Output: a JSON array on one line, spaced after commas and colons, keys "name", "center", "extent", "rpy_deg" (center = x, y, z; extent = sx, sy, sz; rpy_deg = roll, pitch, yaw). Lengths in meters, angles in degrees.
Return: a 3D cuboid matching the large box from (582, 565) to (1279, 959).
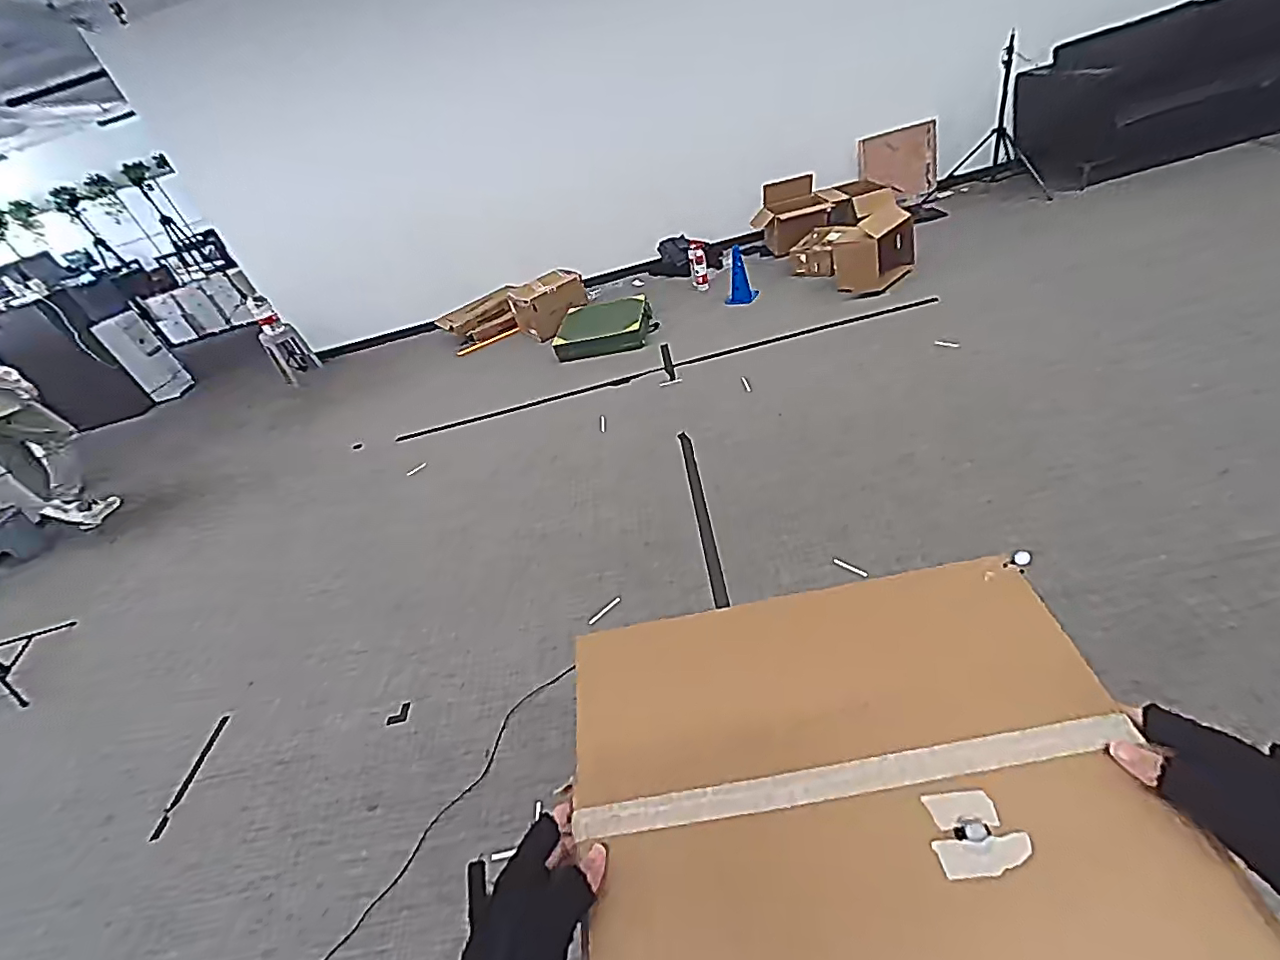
[{"name": "large box", "center": [0.182, 0.330, 0.509], "extent": [0.408, 0.320, 0.320], "rpy_deg": [-12, 45, 3]}]
